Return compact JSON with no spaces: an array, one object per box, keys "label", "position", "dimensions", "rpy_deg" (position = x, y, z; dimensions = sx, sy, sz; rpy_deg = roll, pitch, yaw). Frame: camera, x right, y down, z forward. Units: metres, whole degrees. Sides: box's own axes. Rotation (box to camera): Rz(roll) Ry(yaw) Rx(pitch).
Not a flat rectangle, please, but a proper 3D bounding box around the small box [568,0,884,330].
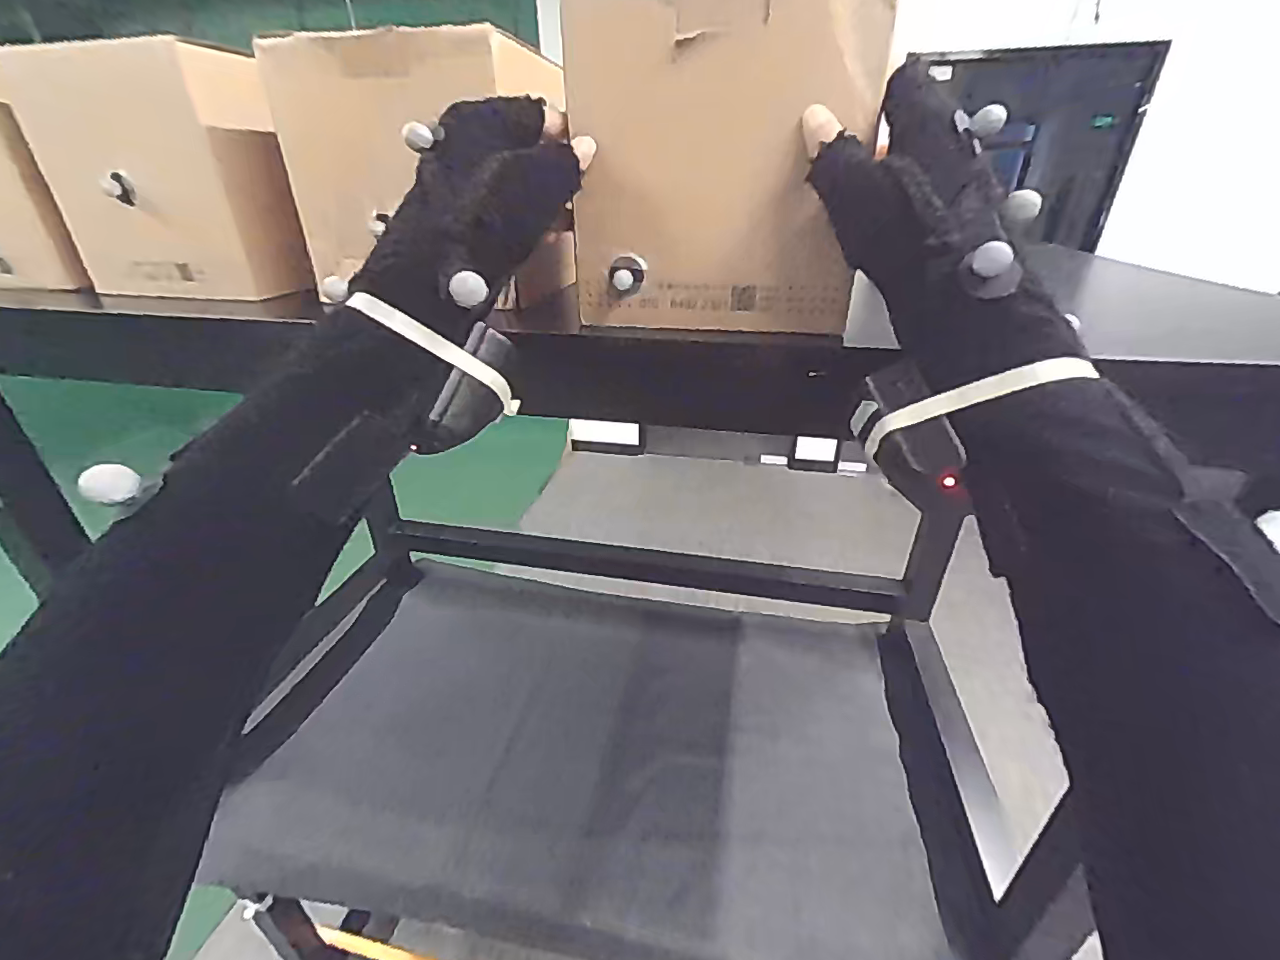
[{"label":"small box","position":[0.059,-0.207,0.383],"dimensions":[0.168,0.176,0.179],"rpy_deg":[5,28,10]}]
